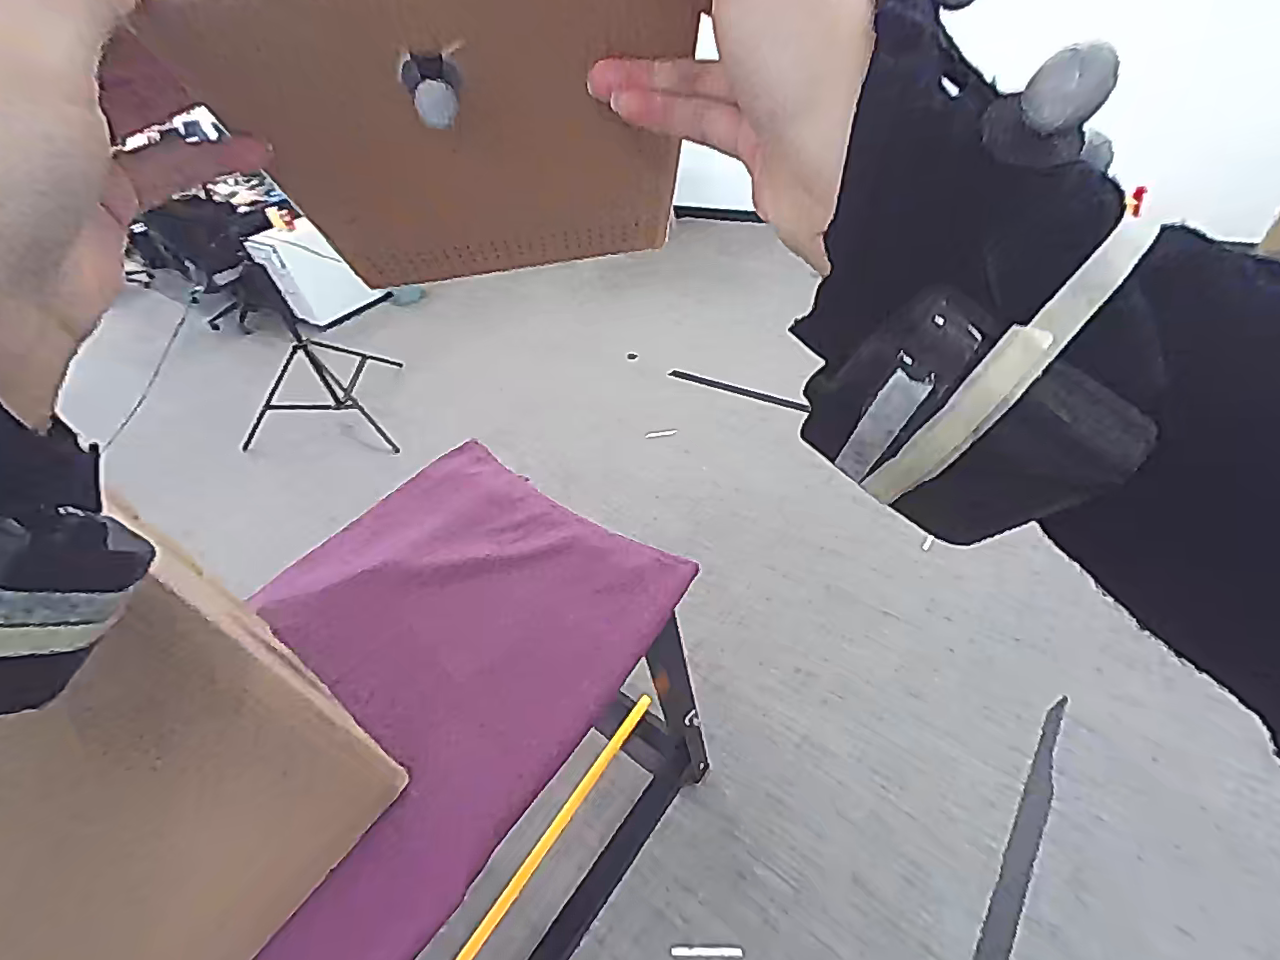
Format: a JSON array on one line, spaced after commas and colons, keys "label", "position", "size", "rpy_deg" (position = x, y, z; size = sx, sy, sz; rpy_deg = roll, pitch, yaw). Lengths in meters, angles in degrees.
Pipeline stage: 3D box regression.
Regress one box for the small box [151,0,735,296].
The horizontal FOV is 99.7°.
[{"label": "small box", "position": [-0.069, -0.206, 0.249], "size": [0.179, 0.176, 0.168], "rpy_deg": [-9, 82, -3]}]
